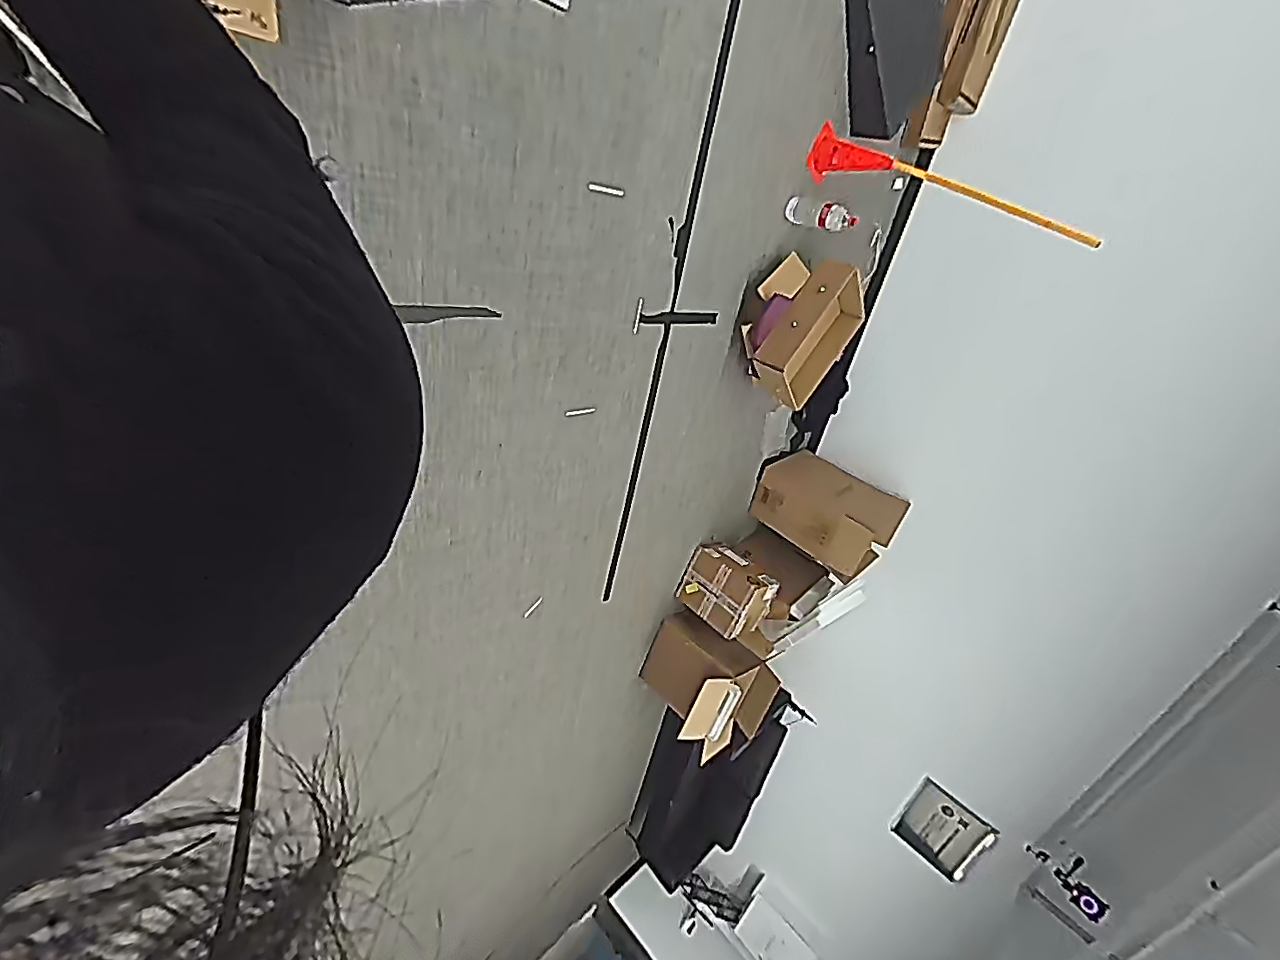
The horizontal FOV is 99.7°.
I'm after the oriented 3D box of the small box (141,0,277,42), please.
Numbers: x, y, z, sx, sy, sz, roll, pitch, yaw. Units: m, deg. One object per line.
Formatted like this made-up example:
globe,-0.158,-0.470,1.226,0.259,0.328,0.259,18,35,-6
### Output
small box,-0.739,-0.868,0.907,0.168,0.176,0.179,-17,130,-43
